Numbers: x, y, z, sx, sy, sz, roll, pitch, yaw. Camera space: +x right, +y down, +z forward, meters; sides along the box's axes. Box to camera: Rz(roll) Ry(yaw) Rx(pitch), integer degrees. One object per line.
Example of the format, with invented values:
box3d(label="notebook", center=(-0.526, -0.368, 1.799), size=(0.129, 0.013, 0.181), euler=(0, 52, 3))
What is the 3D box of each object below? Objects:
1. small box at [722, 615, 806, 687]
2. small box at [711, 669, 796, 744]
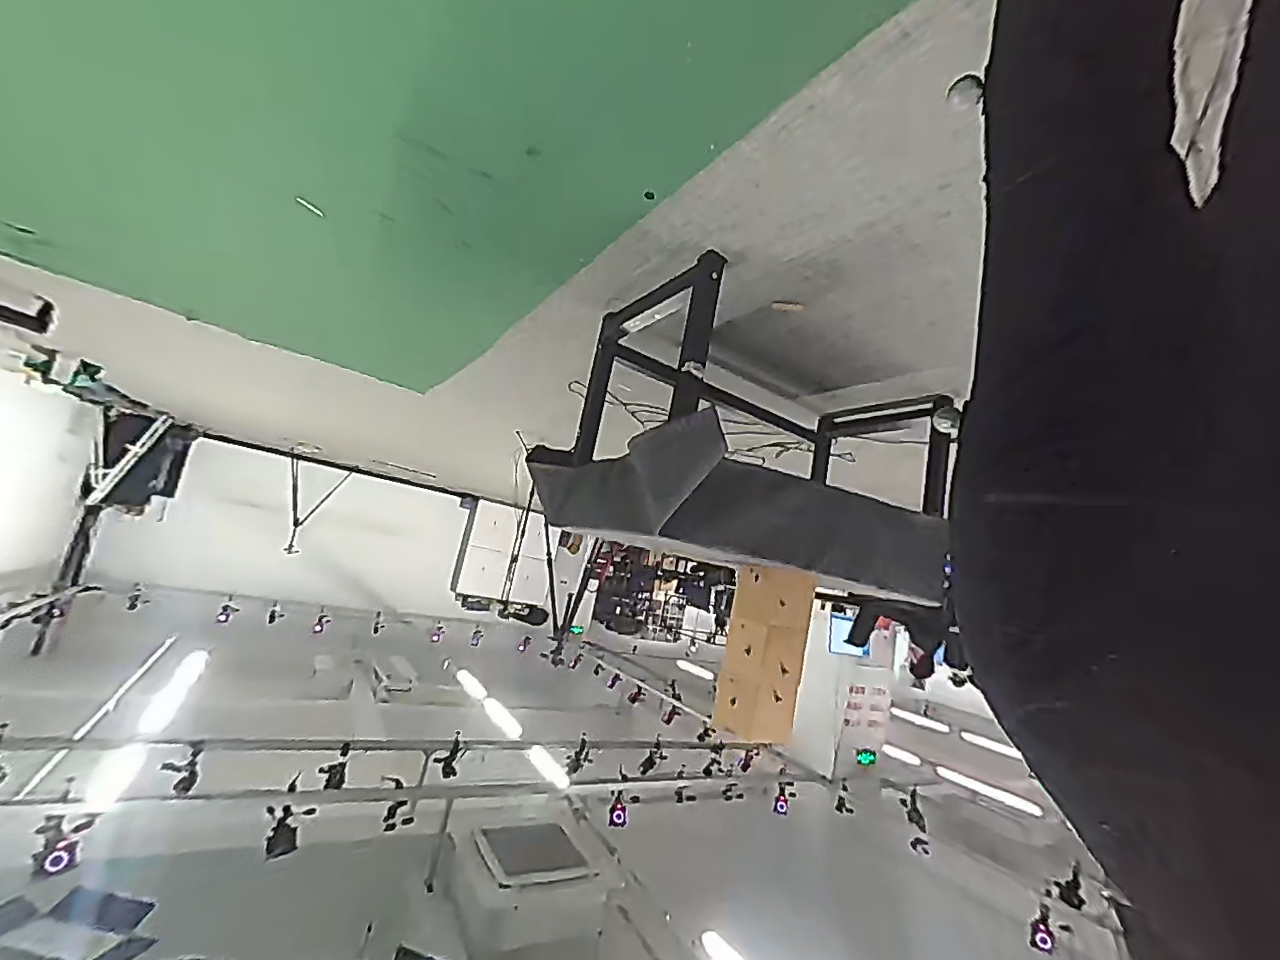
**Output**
box3d(label="small box", center=(0.375, 0.512, 1.635), size=(0.179, 0.176, 0.168), euler=(17, 169, -29))
box3d(label="small box", center=(0.340, 0.670, 1.613), size=(0.179, 0.176, 0.168), euler=(19, 168, -32))
